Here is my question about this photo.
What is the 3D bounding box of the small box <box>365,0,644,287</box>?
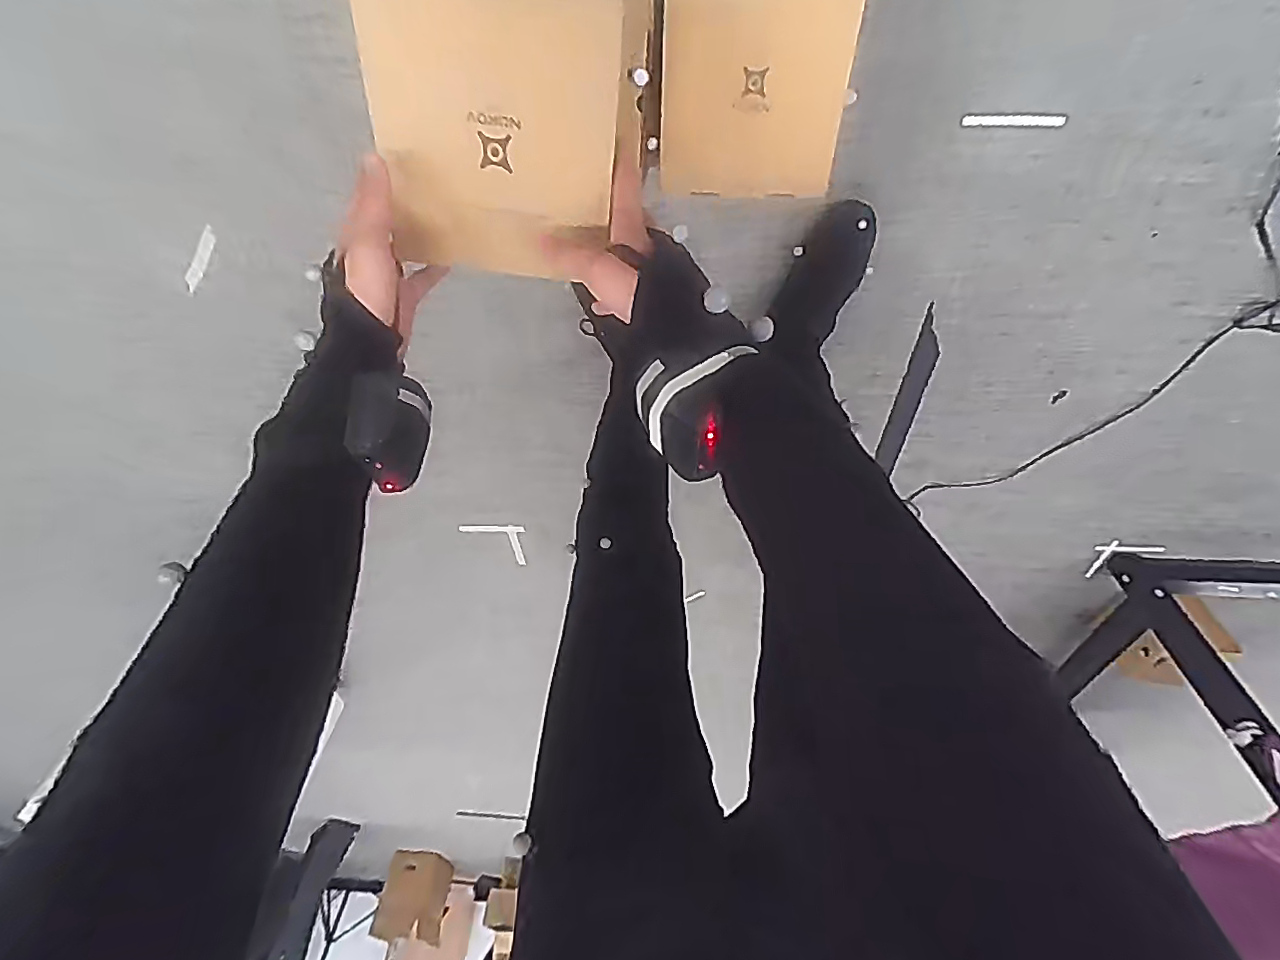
[{"bbox_3d":[-0.088,-0.278,0.426,0.168,0.176,0.179,7,131,-3],"label":"small box"}]
